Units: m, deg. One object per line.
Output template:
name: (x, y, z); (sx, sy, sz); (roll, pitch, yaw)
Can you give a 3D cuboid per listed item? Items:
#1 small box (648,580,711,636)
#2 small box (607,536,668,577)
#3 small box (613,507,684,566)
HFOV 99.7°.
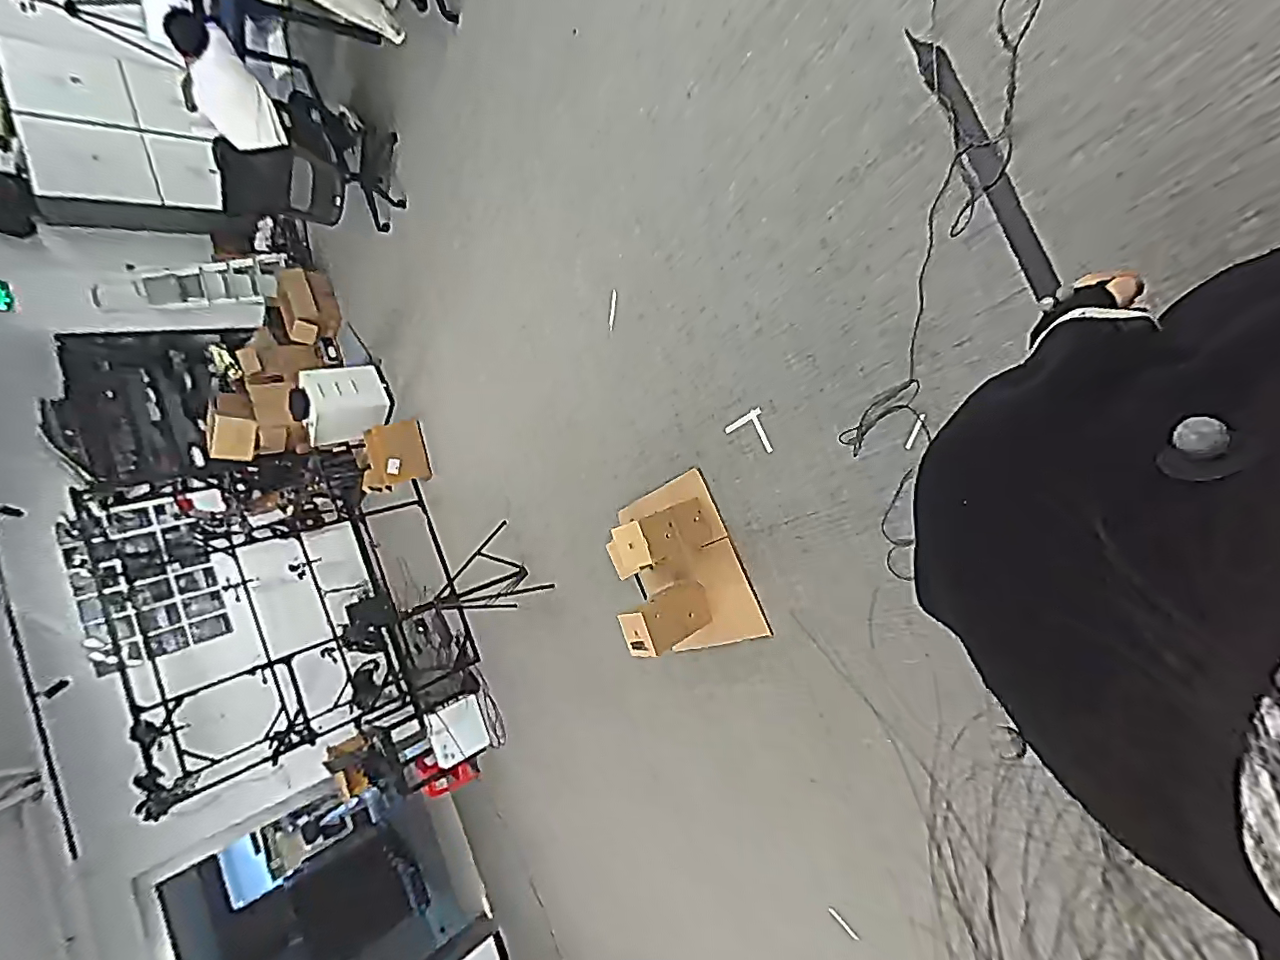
small box: (0.169, 0.528, 2.241); (0.168, 0.176, 0.179); (-17, 92, 50)
small box: (-0.009, 0.300, 2.372); (0.168, 0.176, 0.179); (-37, 75, 49)
small box: (0.033, 0.212, 2.034); (0.179, 0.176, 0.168); (-25, 84, 49)
